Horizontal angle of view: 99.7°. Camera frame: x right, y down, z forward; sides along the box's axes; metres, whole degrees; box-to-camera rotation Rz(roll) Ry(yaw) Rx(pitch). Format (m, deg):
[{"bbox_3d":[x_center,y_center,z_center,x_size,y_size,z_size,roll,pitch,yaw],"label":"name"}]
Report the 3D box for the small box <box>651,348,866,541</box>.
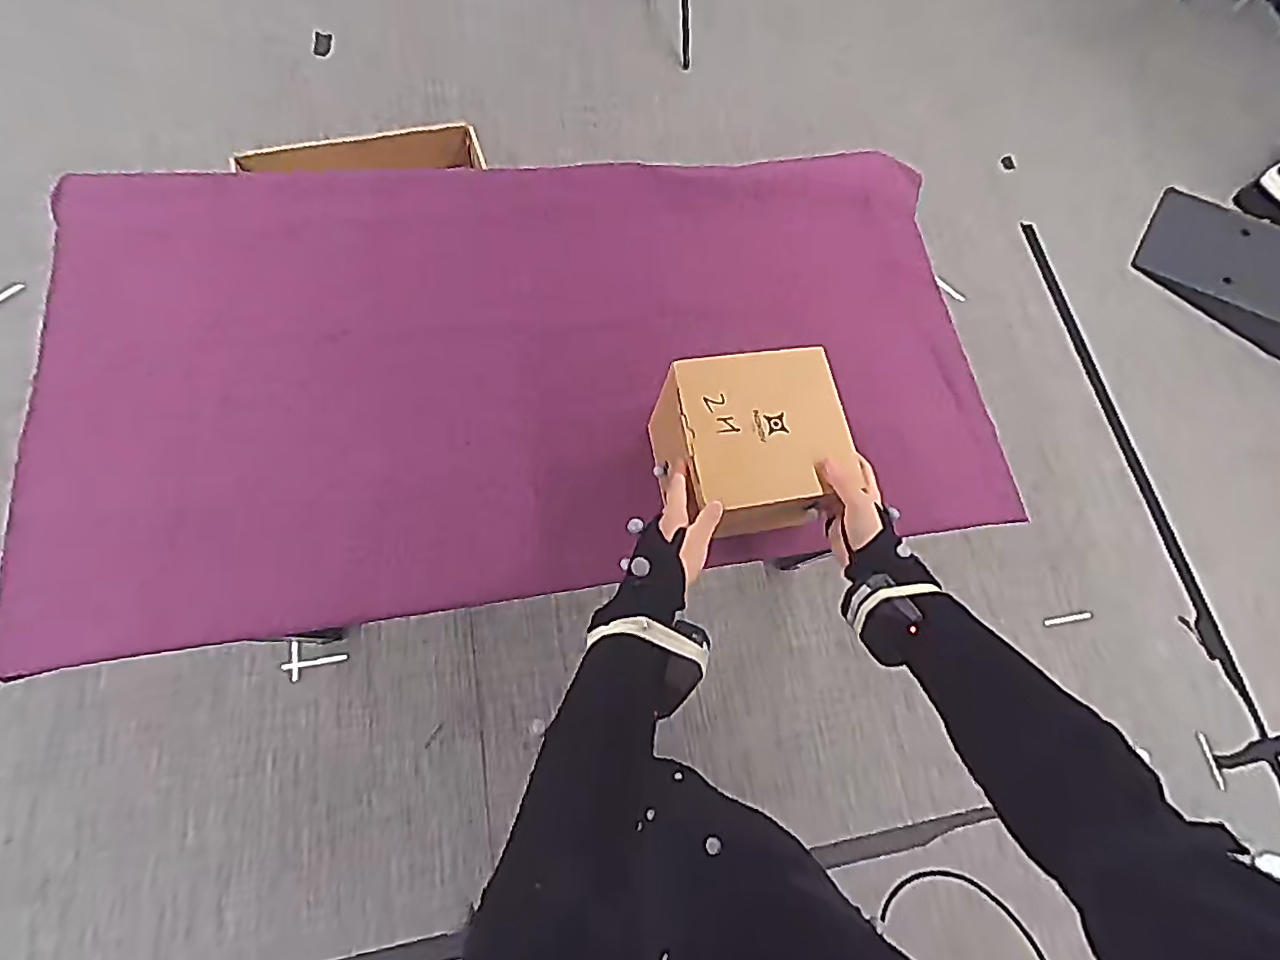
[{"bbox_3d":[0.121,-0.033,0.626,0.179,0.176,0.168,-8,74,-10],"label":"small box"}]
